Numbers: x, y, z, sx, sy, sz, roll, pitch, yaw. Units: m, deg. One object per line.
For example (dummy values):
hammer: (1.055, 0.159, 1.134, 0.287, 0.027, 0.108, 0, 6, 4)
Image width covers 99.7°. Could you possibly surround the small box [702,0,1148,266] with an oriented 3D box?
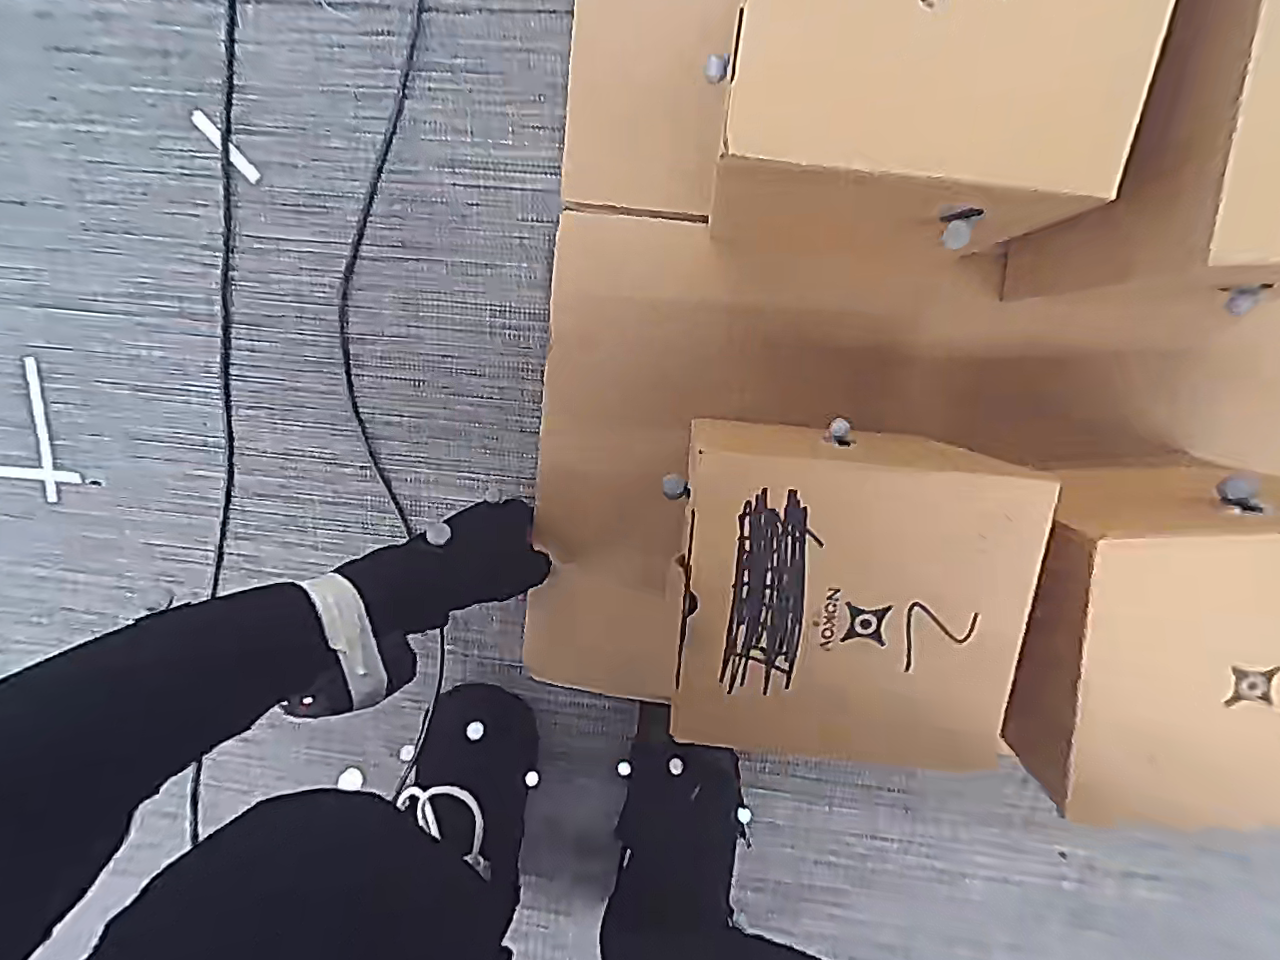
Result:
small box: (0.135, -0.228, 0.309, 0.179, 0.176, 0.168, 9, 103, 4)
